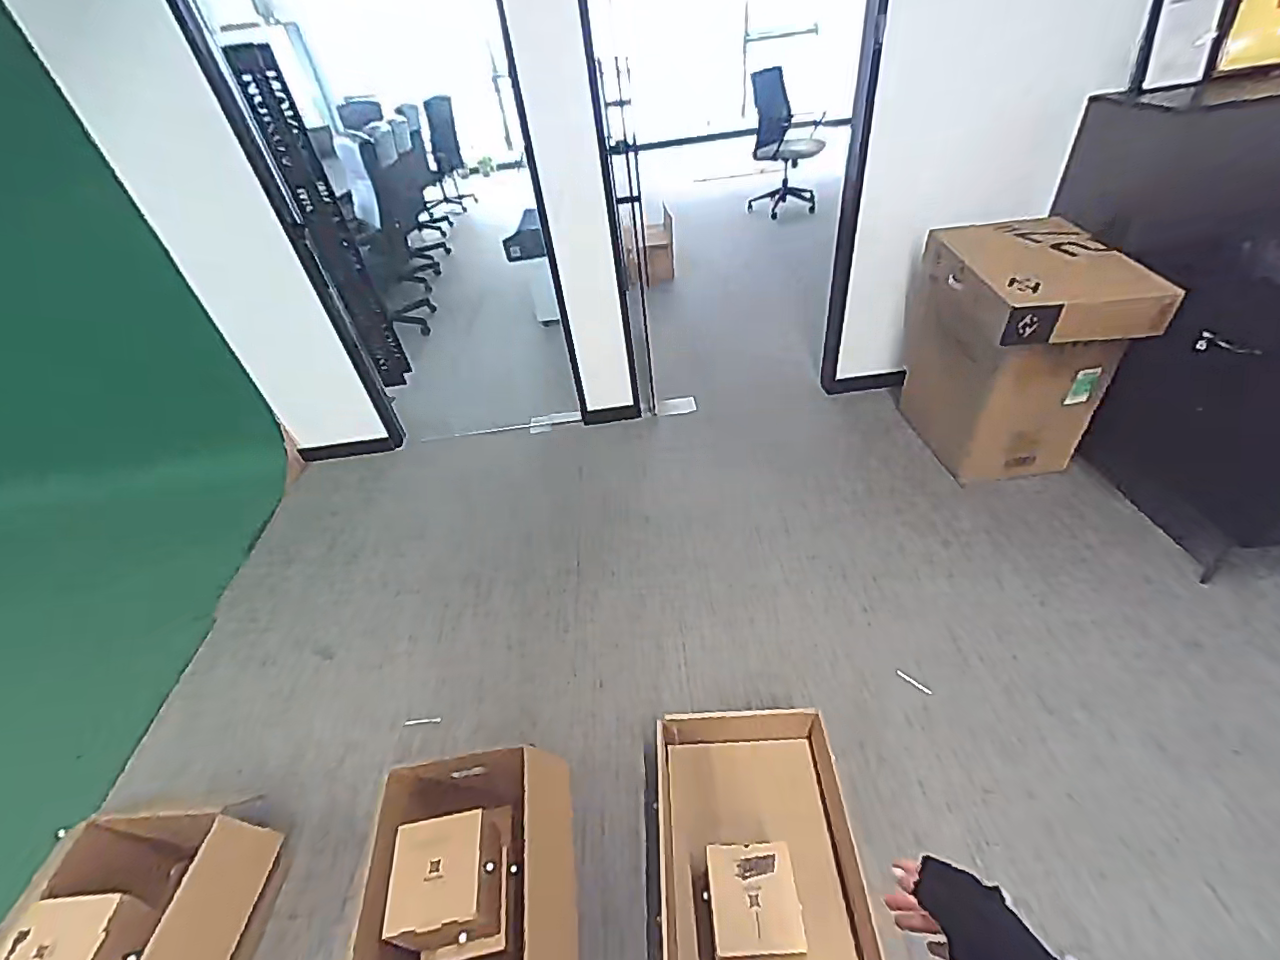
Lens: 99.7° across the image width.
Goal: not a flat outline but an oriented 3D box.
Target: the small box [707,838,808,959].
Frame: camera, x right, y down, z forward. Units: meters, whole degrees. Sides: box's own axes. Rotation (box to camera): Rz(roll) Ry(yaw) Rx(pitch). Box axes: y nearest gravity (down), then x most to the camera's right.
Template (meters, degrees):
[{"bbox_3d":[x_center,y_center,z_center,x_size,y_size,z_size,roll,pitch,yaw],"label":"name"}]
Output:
[{"bbox_3d":[0.224,0.845,1.078,0.168,0.176,0.179,-5,40,2],"label":"small box"}]

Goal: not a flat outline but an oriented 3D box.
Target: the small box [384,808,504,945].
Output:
[{"bbox_3d":[-0.368,0.774,1.051,0.168,0.176,0.179,-10,42,-3],"label":"small box"}]
